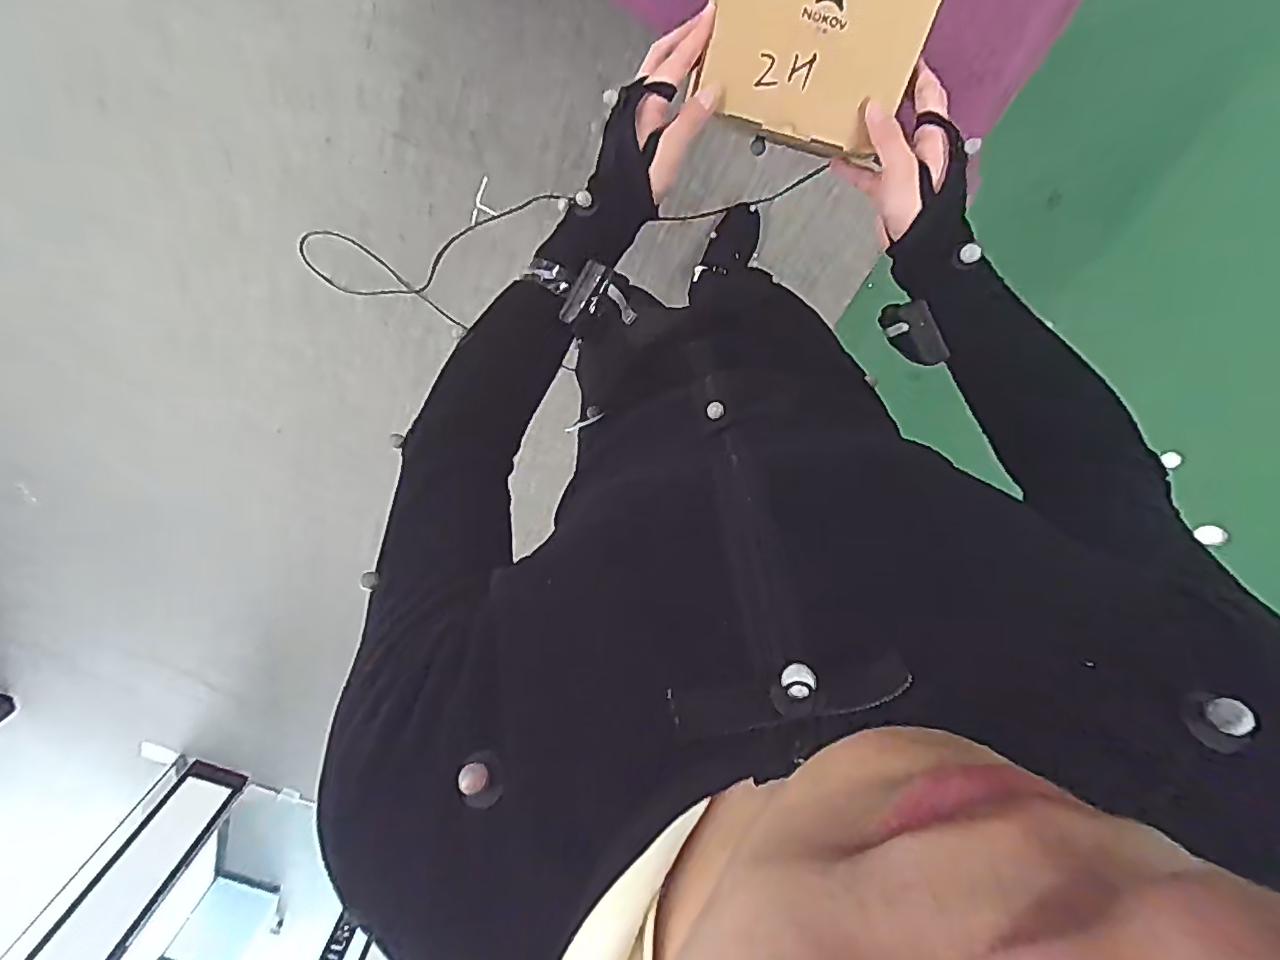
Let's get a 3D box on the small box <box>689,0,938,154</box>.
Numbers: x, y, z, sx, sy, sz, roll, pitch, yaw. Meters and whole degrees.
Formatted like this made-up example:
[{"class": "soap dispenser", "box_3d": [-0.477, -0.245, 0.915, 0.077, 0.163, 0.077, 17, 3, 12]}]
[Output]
[{"class": "small box", "box_3d": [0.144, -0.410, 0.479, 0.168, 0.176, 0.179, 13, 122, -6]}]
